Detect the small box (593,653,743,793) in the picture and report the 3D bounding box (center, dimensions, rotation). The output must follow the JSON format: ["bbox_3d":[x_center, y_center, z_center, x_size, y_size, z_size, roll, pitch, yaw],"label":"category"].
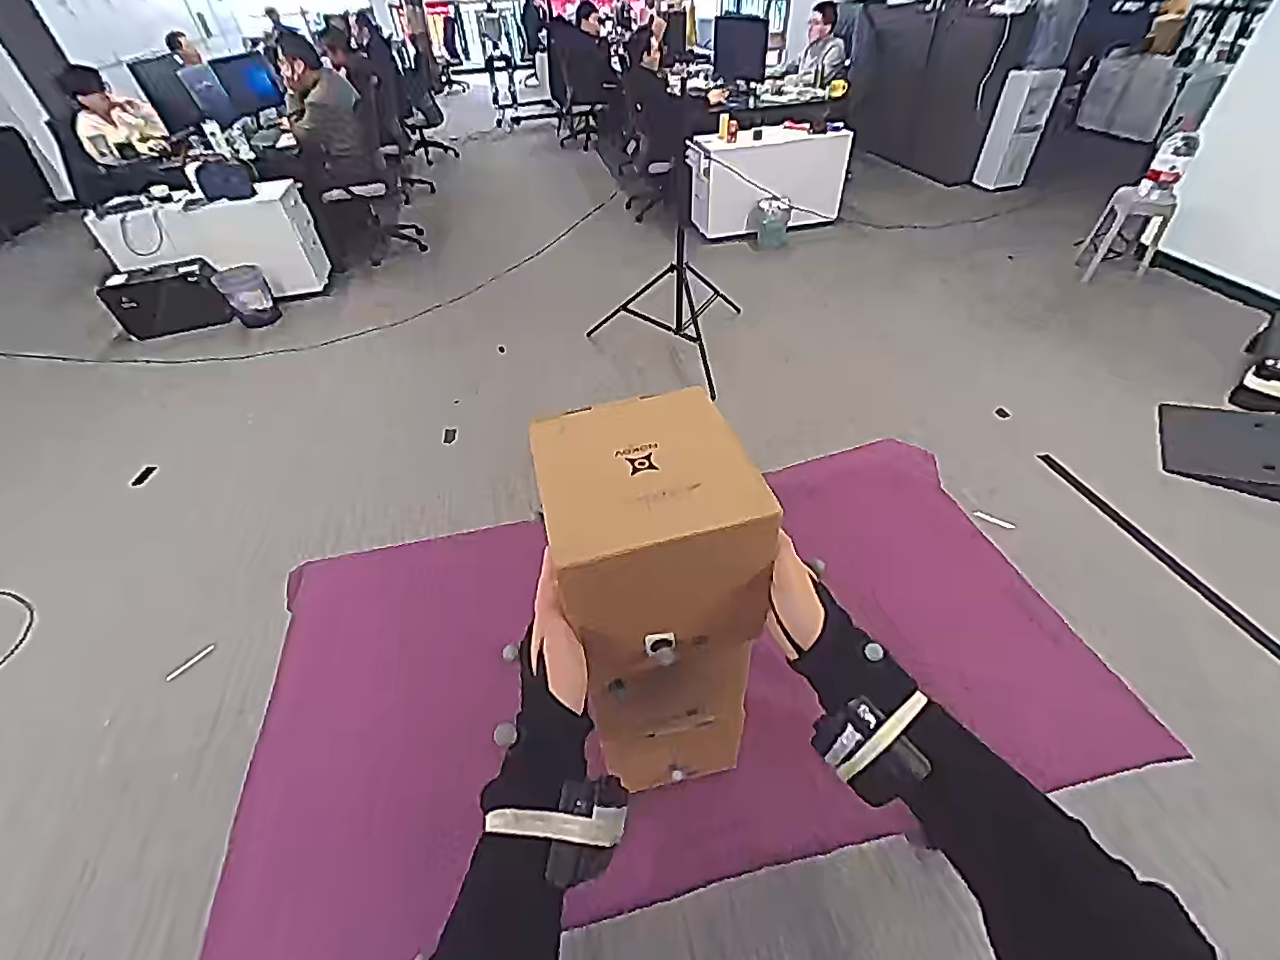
[{"bbox_3d":[0.026,0.280,0.717,0.168,0.176,0.179,-10,43,-6],"label":"small box"}]

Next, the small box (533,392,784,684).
[{"bbox_3d":[0.008,0.049,0.486,0.168,0.176,0.179,-14,44,-9],"label":"small box"}]
